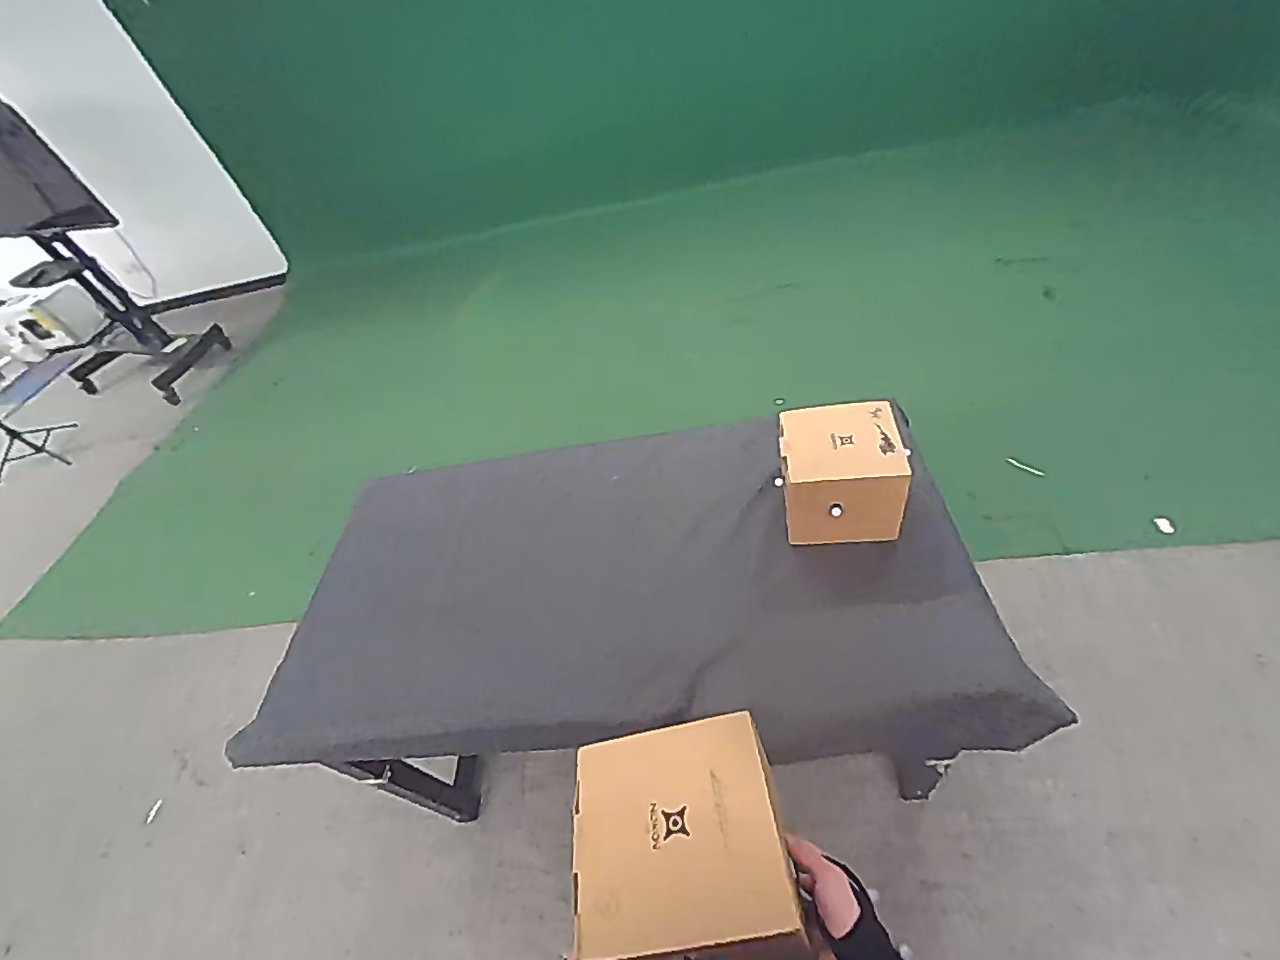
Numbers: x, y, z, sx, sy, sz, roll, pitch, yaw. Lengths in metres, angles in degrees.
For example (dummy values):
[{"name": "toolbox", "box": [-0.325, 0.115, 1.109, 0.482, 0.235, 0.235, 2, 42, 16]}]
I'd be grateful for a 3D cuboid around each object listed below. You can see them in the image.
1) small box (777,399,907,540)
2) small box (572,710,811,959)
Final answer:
[{"name": "small box", "box": [0.331, -0.011, 0.910, 0.179, 0.176, 0.168, -5, 49, 13]}, {"name": "small box", "box": [0.048, 0.350, 0.512, 0.179, 0.176, 0.168, -15, 40, 7]}]
